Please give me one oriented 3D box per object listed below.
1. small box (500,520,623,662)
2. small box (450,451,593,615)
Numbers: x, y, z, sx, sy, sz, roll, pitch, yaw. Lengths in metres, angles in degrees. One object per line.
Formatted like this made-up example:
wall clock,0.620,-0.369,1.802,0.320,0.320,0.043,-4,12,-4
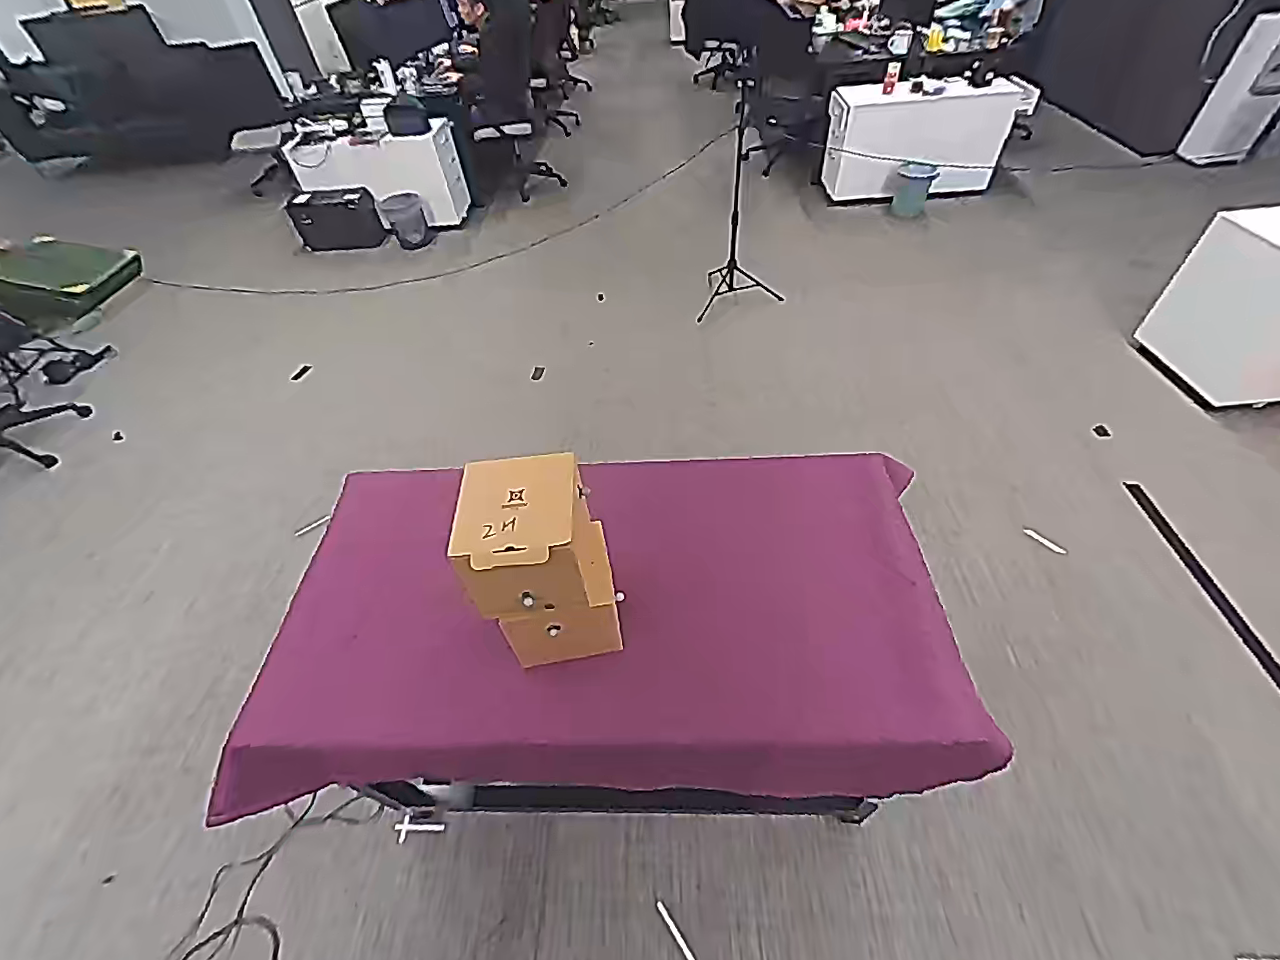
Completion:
small box,-0.131,0.194,0.929,0.179,0.176,0.168,-9,48,-3
small box,-0.164,0.080,0.812,0.168,0.176,0.179,-6,48,1
